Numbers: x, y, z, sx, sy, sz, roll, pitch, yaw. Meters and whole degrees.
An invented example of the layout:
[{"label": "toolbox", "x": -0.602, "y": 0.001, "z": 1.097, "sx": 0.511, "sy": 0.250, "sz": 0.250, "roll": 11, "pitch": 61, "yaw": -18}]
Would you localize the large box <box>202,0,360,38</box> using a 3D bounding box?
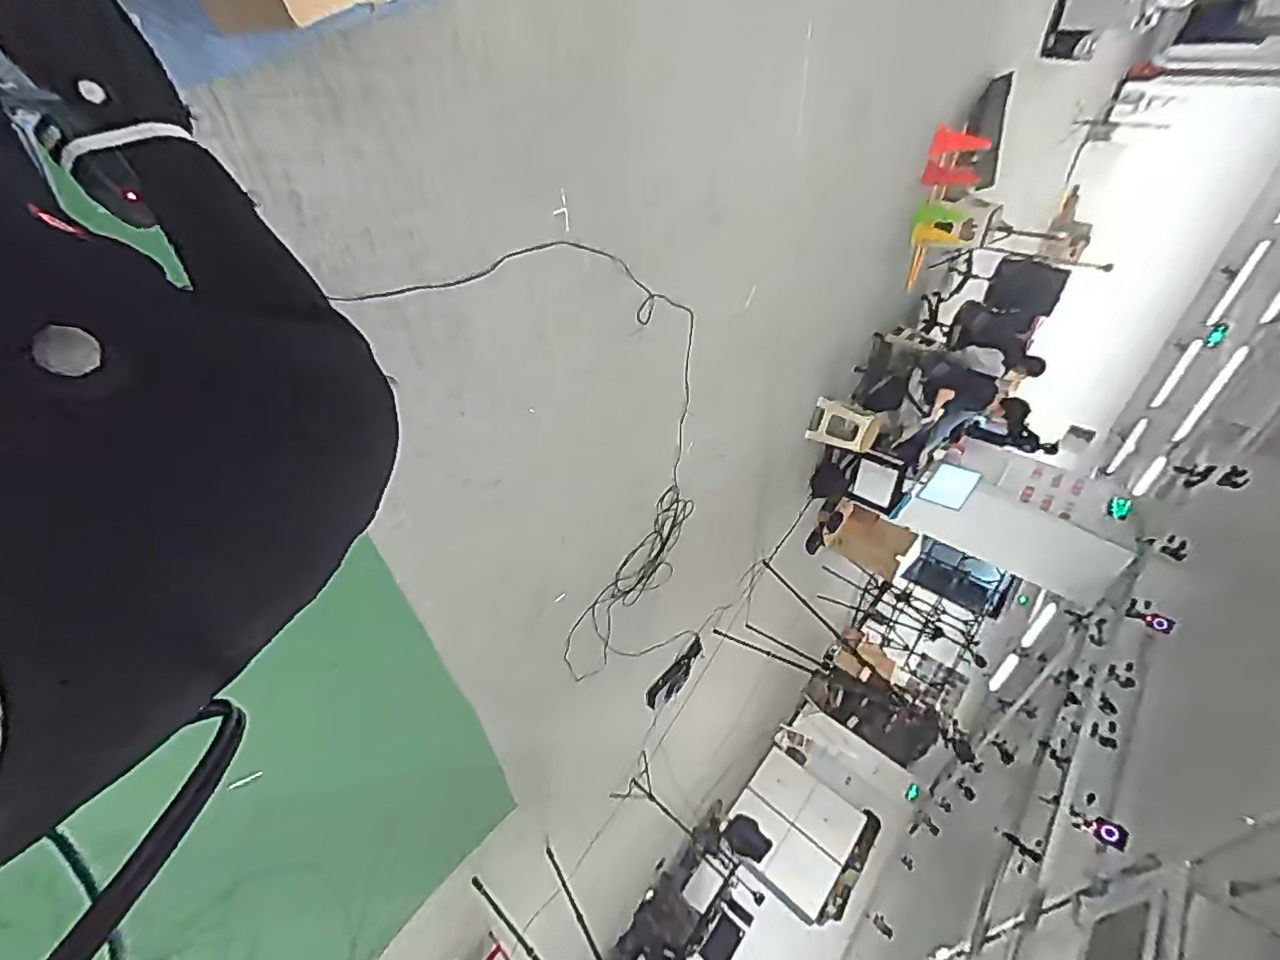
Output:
[{"label": "large box", "x": -0.534, "y": -0.905, "z": 0.732, "sx": 0.320, "sy": 0.320, "sz": 0.408, "roll": -47, "pitch": 144, "yaw": -23}]
